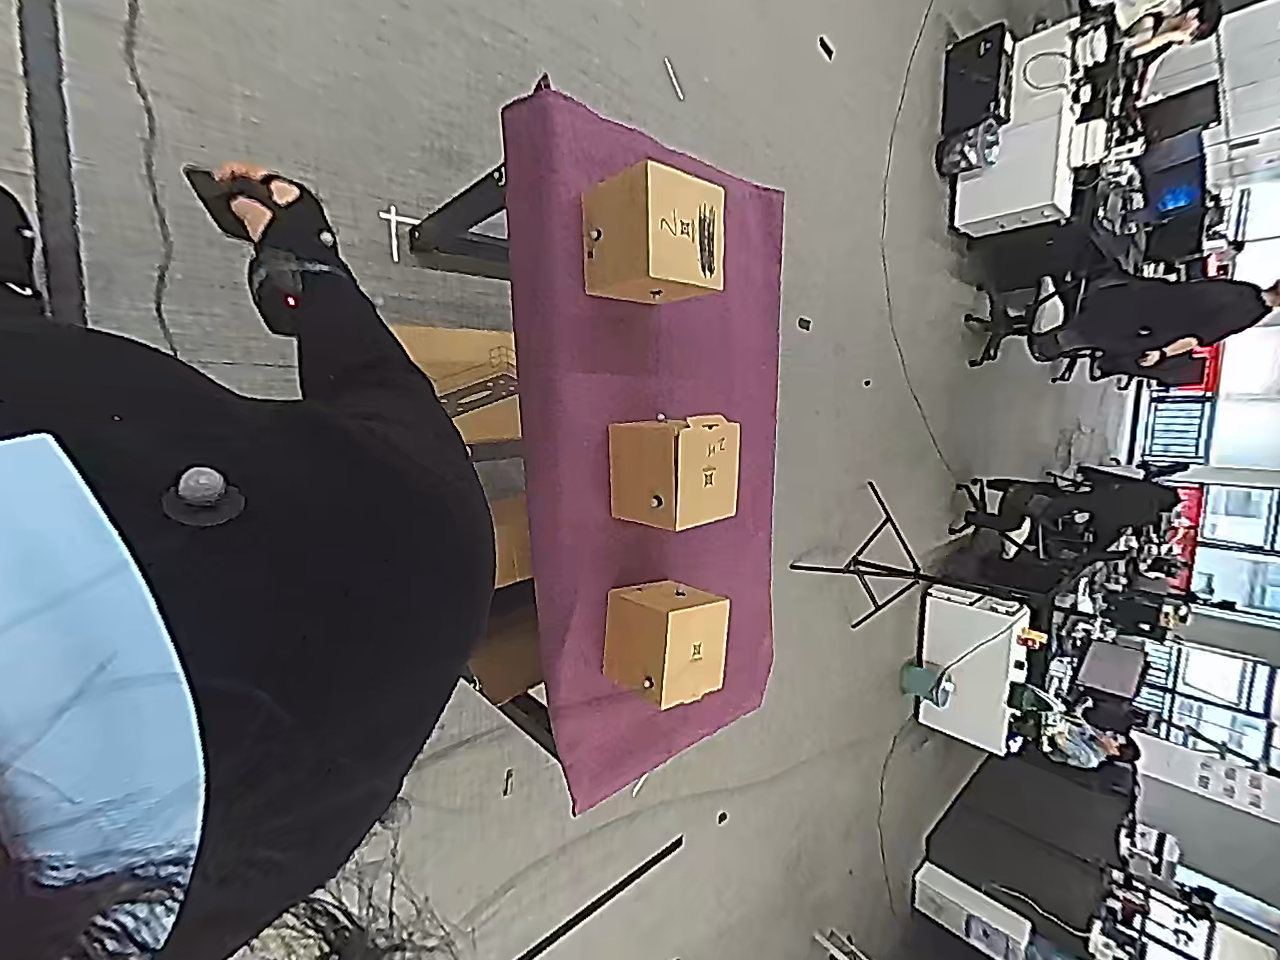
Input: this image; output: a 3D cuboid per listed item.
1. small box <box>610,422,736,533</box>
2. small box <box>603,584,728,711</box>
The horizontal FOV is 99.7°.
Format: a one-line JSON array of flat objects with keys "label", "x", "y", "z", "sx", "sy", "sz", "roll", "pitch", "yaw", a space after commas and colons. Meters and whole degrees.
[{"label": "small box", "x": 0.058, "y": -0.014, "z": 0.993, "sx": 0.168, "sy": 0.176, "sz": 0.179, "roll": -10, "pitch": 102, "yaw": -44}, {"label": "small box", "x": 0.045, "y": 0.303, "z": 1.027, "sx": 0.168, "sy": 0.176, "sz": 0.179, "roll": 1, "pitch": 96, "yaw": -42}]
